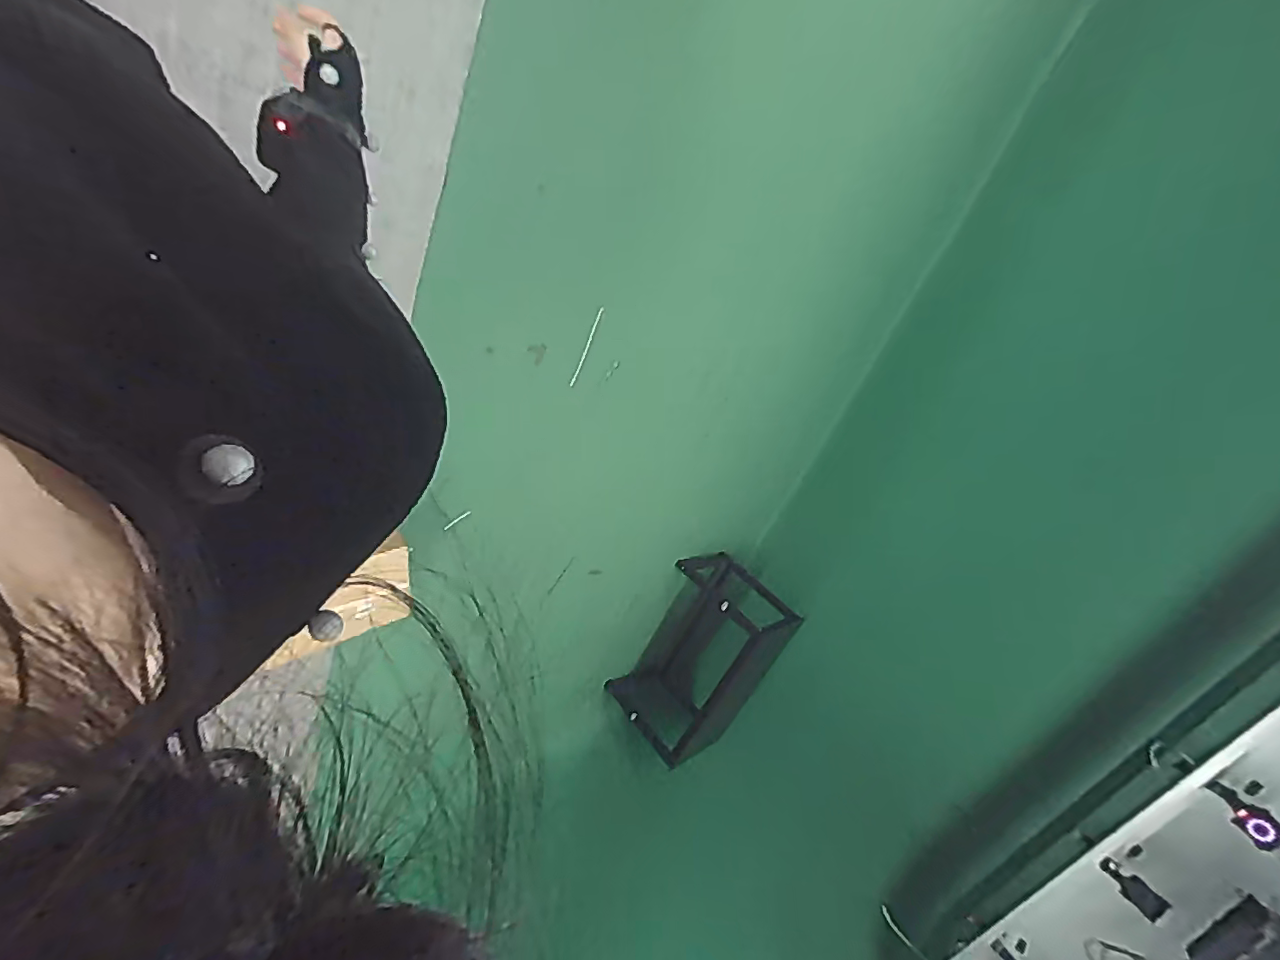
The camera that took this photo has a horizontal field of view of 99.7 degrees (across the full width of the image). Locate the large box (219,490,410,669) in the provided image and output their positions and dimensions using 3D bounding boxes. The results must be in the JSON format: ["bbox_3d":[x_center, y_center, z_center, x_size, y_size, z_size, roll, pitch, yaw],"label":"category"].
[{"bbox_3d":[-0.959,0.278,1.626,0.408,0.320,0.320,-19,137,-39],"label":"large box"}]
